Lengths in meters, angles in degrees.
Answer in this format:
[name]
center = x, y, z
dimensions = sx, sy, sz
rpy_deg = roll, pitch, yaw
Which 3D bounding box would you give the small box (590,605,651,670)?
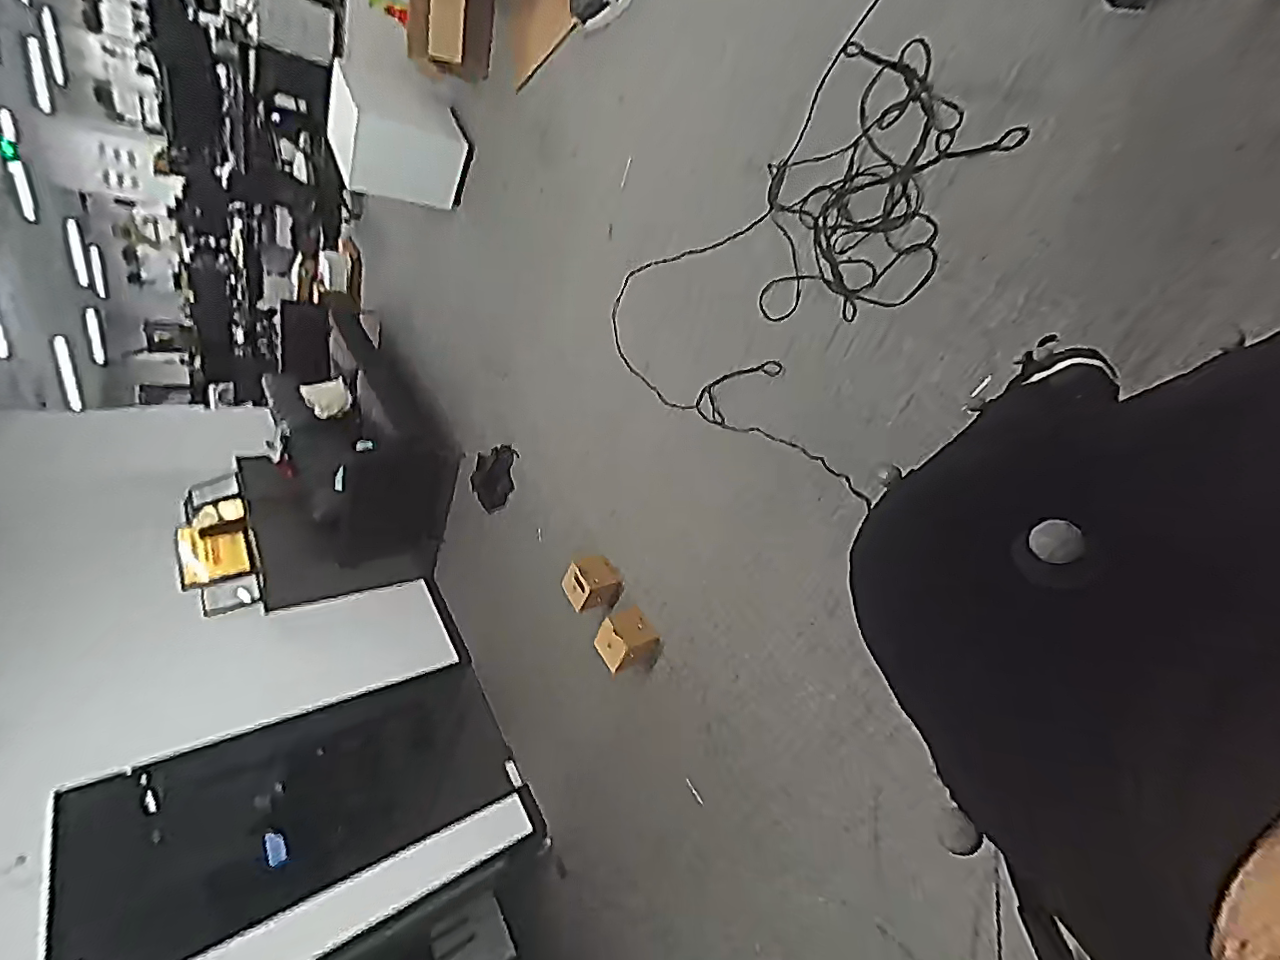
[small box]
center = -0.078, 0.645, 2.229
dimensions = 0.168, 0.176, 0.179
rpy_deg = 49, 129, 34
